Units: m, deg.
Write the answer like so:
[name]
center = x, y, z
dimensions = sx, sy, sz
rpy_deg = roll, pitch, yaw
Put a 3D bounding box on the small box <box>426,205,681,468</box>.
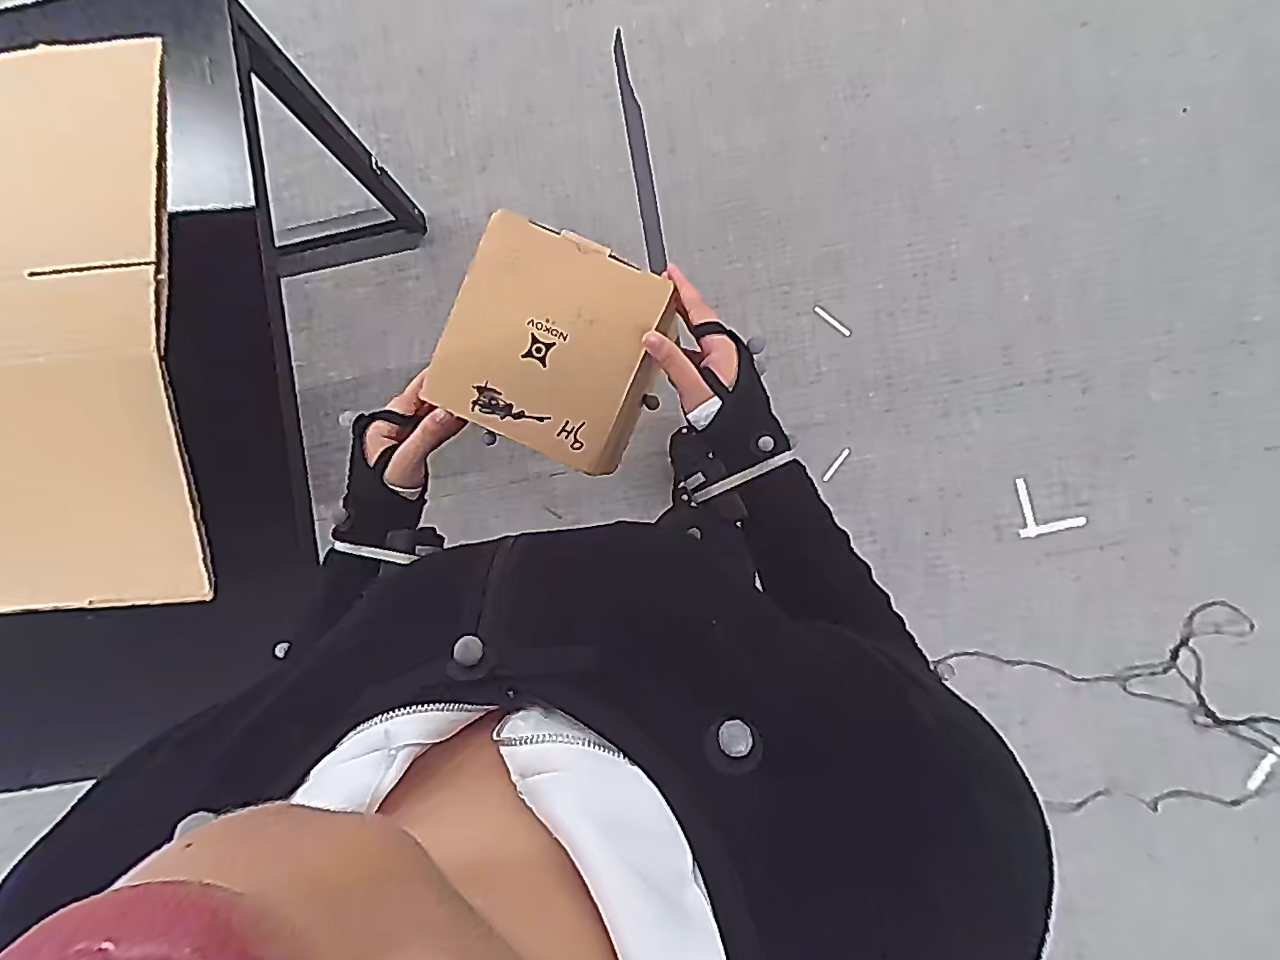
[small box]
center = -0.071, -0.122, 0.533
dimensions = 0.168, 0.176, 0.179
rpy_deg = 24, 92, 4
